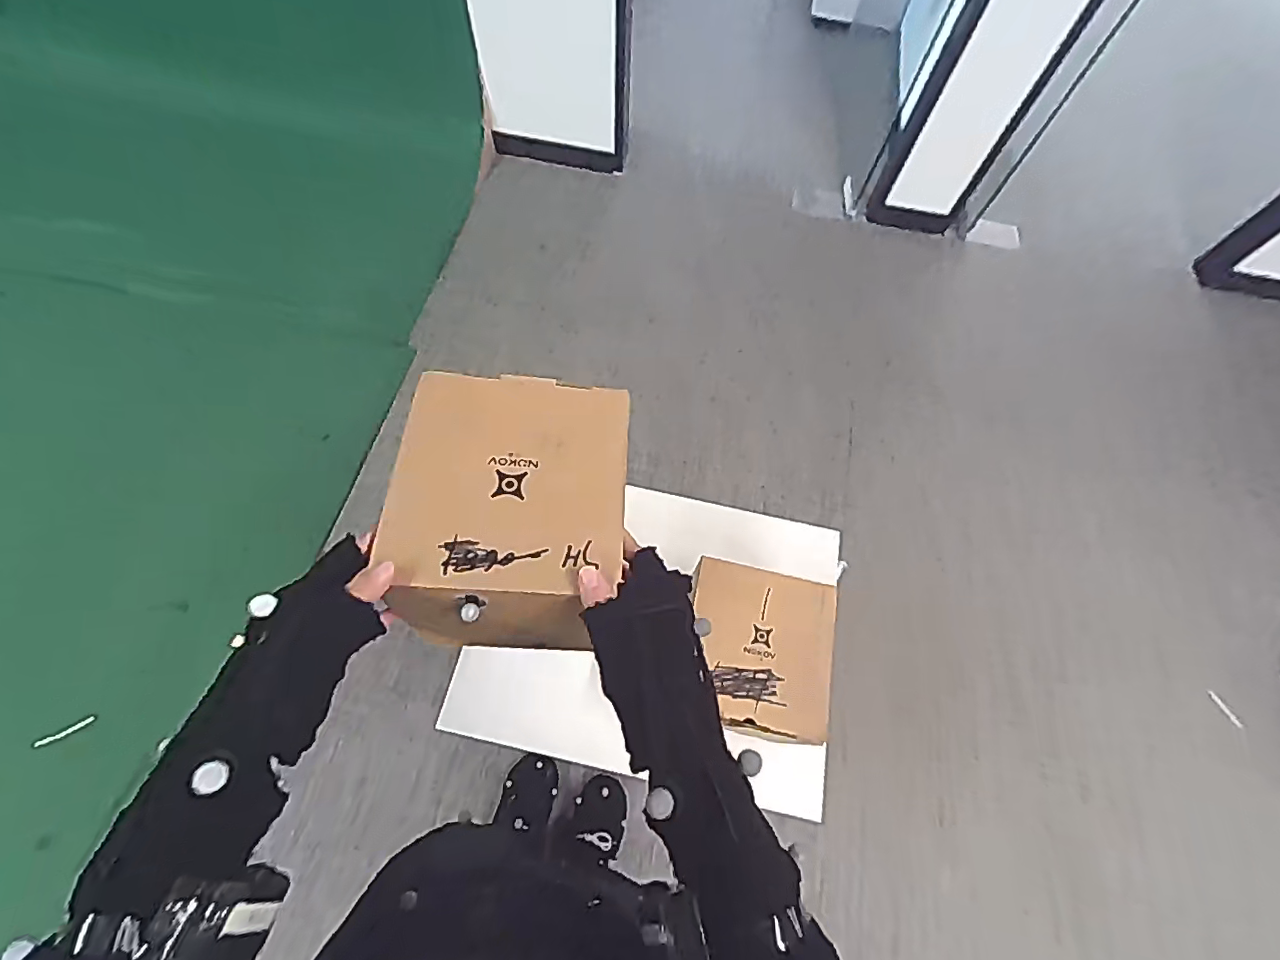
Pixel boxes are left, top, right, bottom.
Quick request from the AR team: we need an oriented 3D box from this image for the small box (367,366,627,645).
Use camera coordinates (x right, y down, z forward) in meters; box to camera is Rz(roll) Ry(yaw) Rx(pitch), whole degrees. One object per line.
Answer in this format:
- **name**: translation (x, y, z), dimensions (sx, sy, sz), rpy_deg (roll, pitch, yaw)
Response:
- **small box**: translation (-0.103, 0.029, 0.463), dimensions (0.168, 0.176, 0.179), rpy_deg (4, 60, -5)

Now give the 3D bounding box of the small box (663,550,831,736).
- **small box**: translation (0.127, 0.213, 0.686), dimensions (0.168, 0.176, 0.179), rpy_deg (13, 64, 4)
